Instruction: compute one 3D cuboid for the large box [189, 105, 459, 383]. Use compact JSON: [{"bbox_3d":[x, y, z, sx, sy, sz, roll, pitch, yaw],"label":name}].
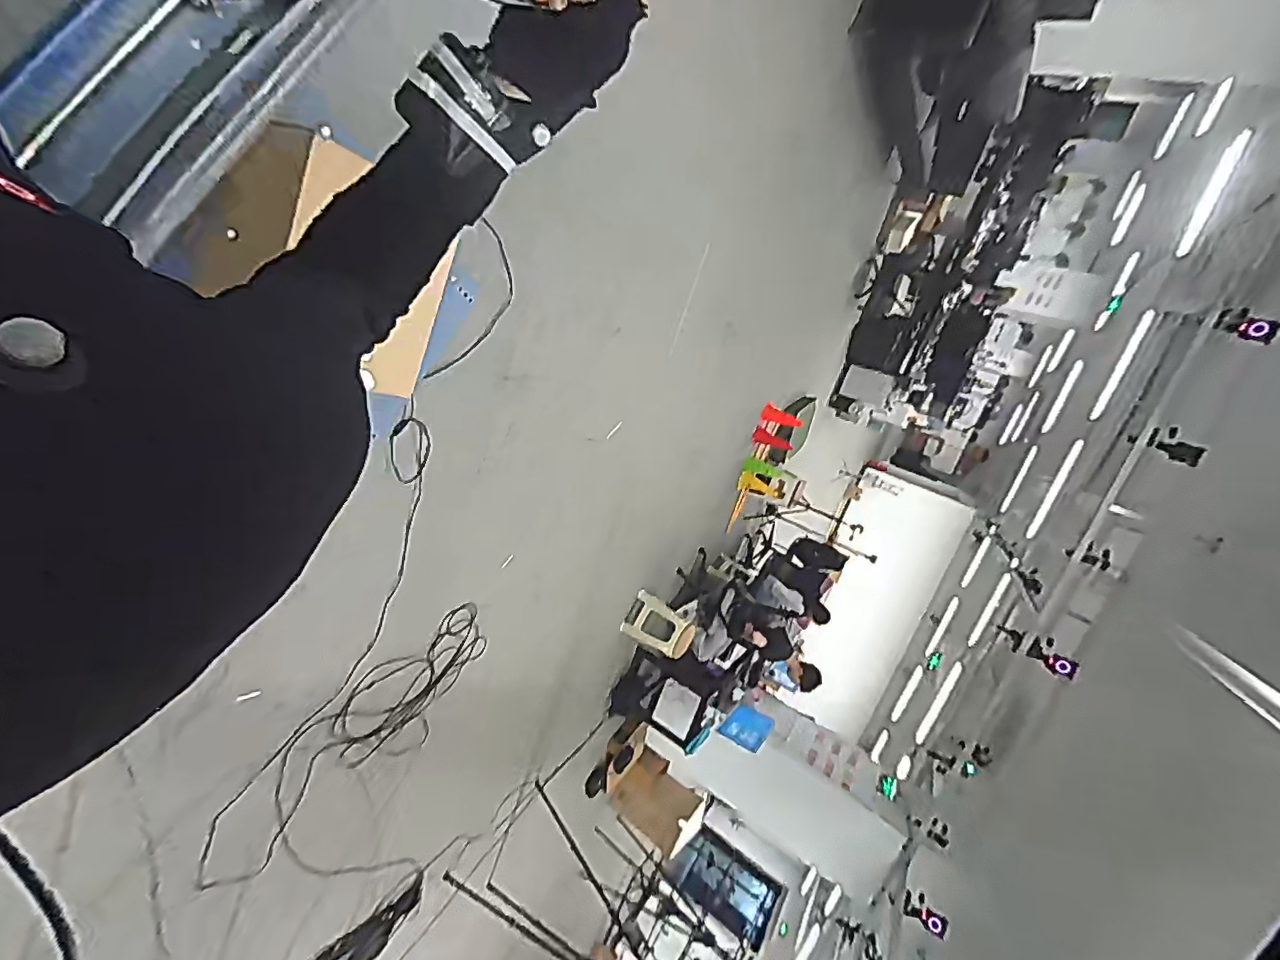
[{"bbox_3d":[-0.637,-0.455,1.096,0.320,0.320,0.408,4,110,-62],"label":"large box"}]
